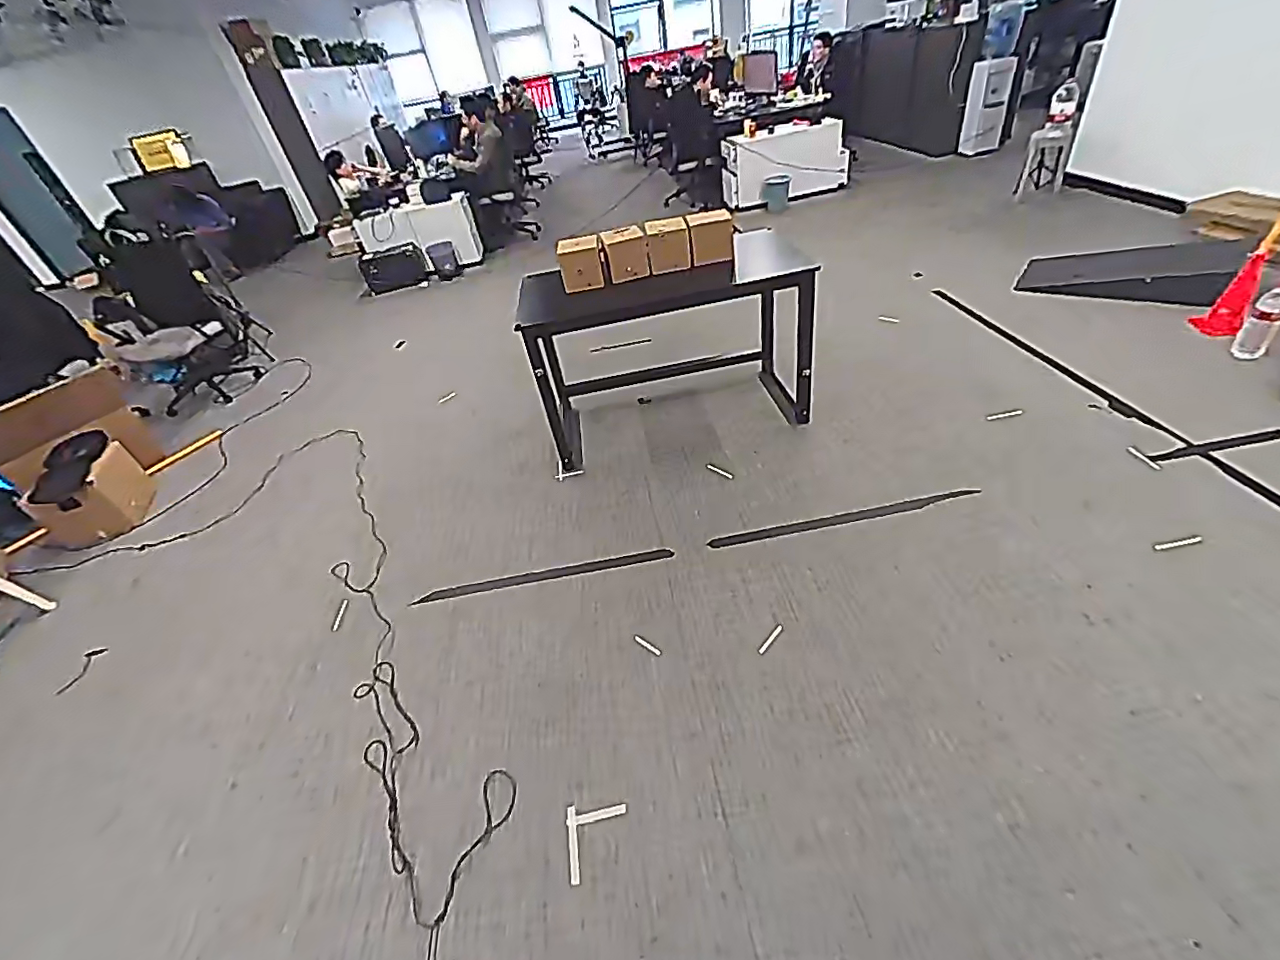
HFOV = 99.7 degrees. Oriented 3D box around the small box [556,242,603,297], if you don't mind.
[{"bbox_3d":[-0.255,-0.896,2.319,0.168,0.176,0.179,-9,38,2],"label":"small box"}]
